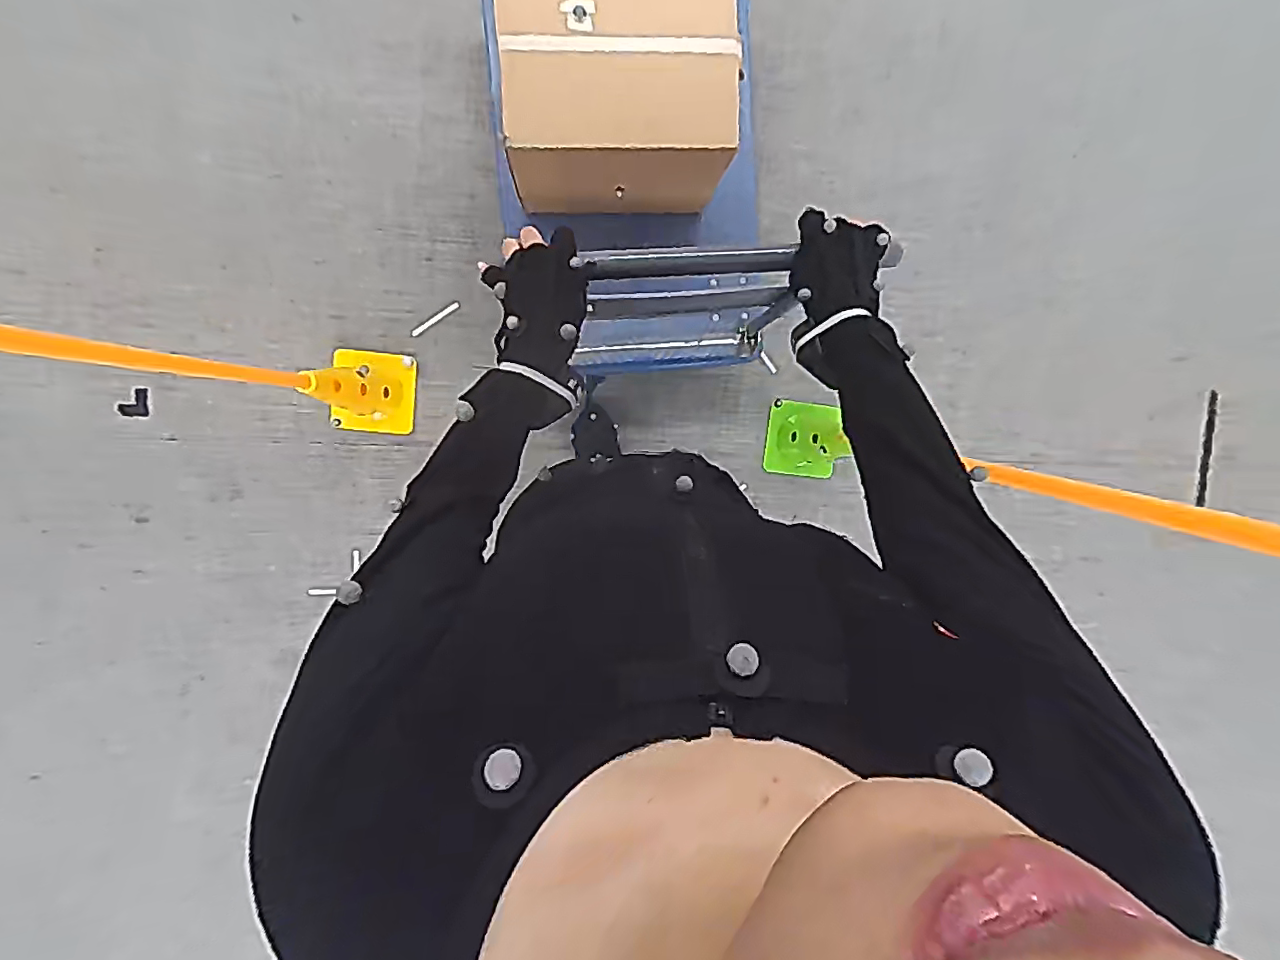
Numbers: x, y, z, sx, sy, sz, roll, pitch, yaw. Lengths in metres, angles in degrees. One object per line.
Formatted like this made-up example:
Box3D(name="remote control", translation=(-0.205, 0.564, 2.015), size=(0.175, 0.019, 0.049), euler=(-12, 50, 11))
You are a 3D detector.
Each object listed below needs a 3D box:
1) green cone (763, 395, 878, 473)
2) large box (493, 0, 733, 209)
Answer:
Box3D(name="green cone", translation=(0.464, -0.108, 1.327), size=(0.202, 0.368, 0.200), euler=(6, 96, -7))
Box3D(name="large box", translation=(-0.052, -0.748, 1.061), size=(0.408, 0.320, 0.320), euler=(-3, 97, -4))
